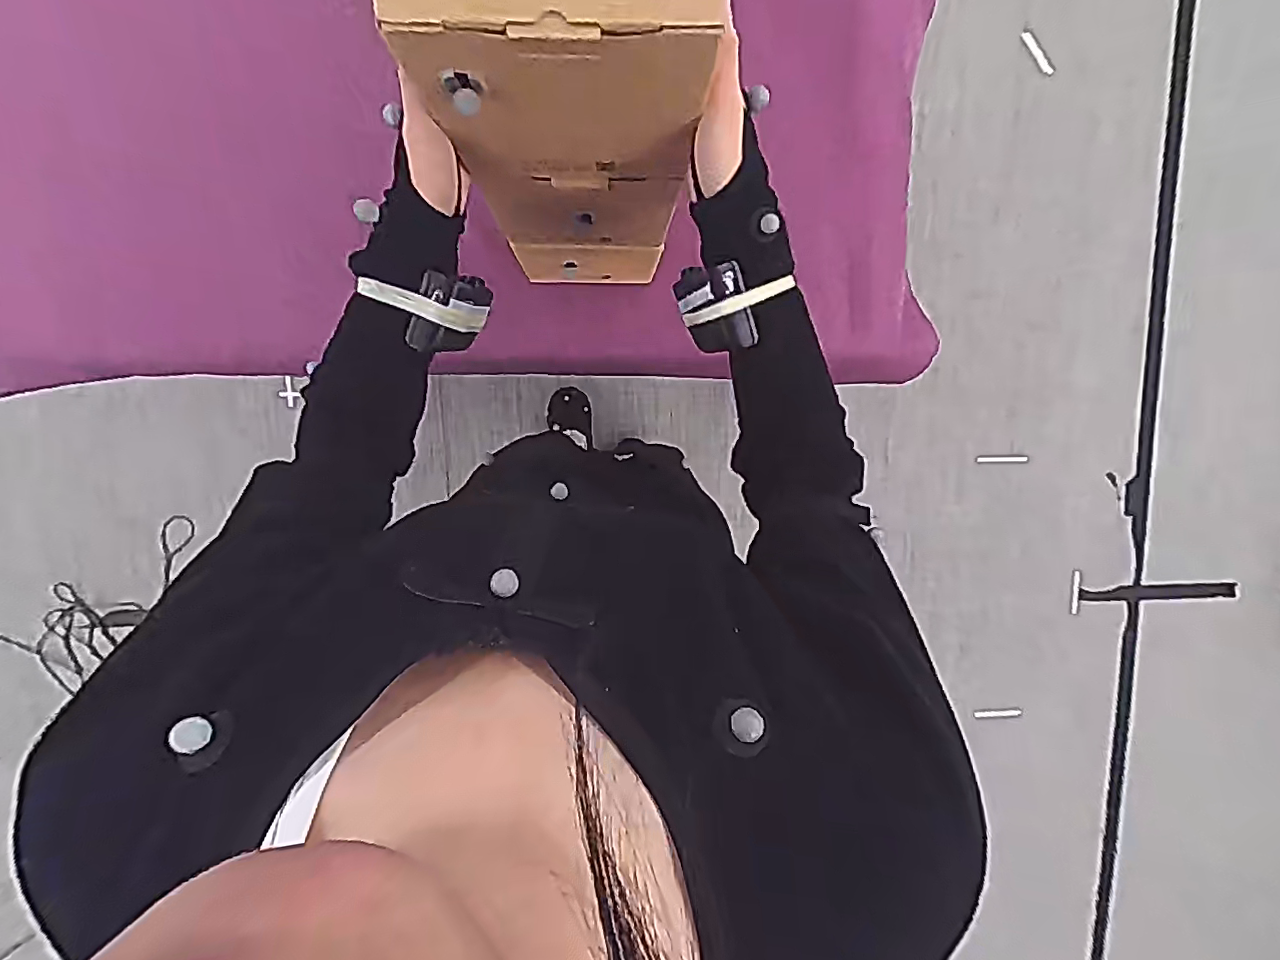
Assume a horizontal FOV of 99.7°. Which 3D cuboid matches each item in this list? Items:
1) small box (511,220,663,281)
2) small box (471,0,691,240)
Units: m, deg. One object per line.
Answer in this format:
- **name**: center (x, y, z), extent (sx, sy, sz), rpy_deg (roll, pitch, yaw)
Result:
- **small box**: center (-0.059, -0.345, 0.647), extent (0.168, 0.176, 0.179), rpy_deg (-1, 97, -4)
- **small box**: center (-0.048, -0.328, 0.485), extent (0.168, 0.176, 0.179), rpy_deg (0, 98, -4)
